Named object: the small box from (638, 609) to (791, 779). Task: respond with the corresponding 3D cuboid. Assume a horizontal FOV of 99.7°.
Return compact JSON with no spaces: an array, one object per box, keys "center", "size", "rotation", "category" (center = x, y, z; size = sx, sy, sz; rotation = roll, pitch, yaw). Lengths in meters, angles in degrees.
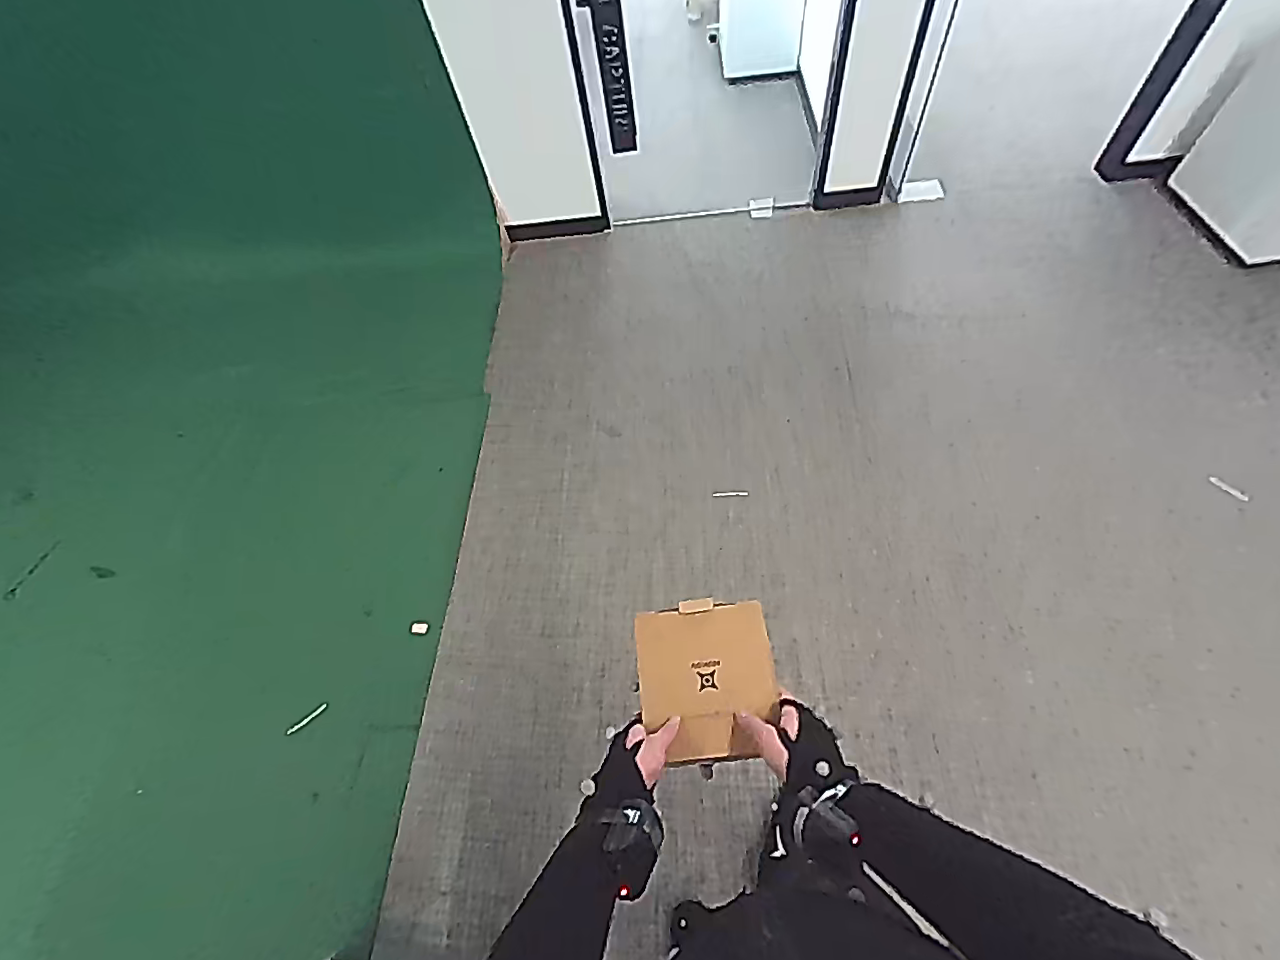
[{"center":[0.088,0.282,0.701],"size":[0.168,0.176,0.179],"rotation":[-6,59,4],"category":"small box"}]
